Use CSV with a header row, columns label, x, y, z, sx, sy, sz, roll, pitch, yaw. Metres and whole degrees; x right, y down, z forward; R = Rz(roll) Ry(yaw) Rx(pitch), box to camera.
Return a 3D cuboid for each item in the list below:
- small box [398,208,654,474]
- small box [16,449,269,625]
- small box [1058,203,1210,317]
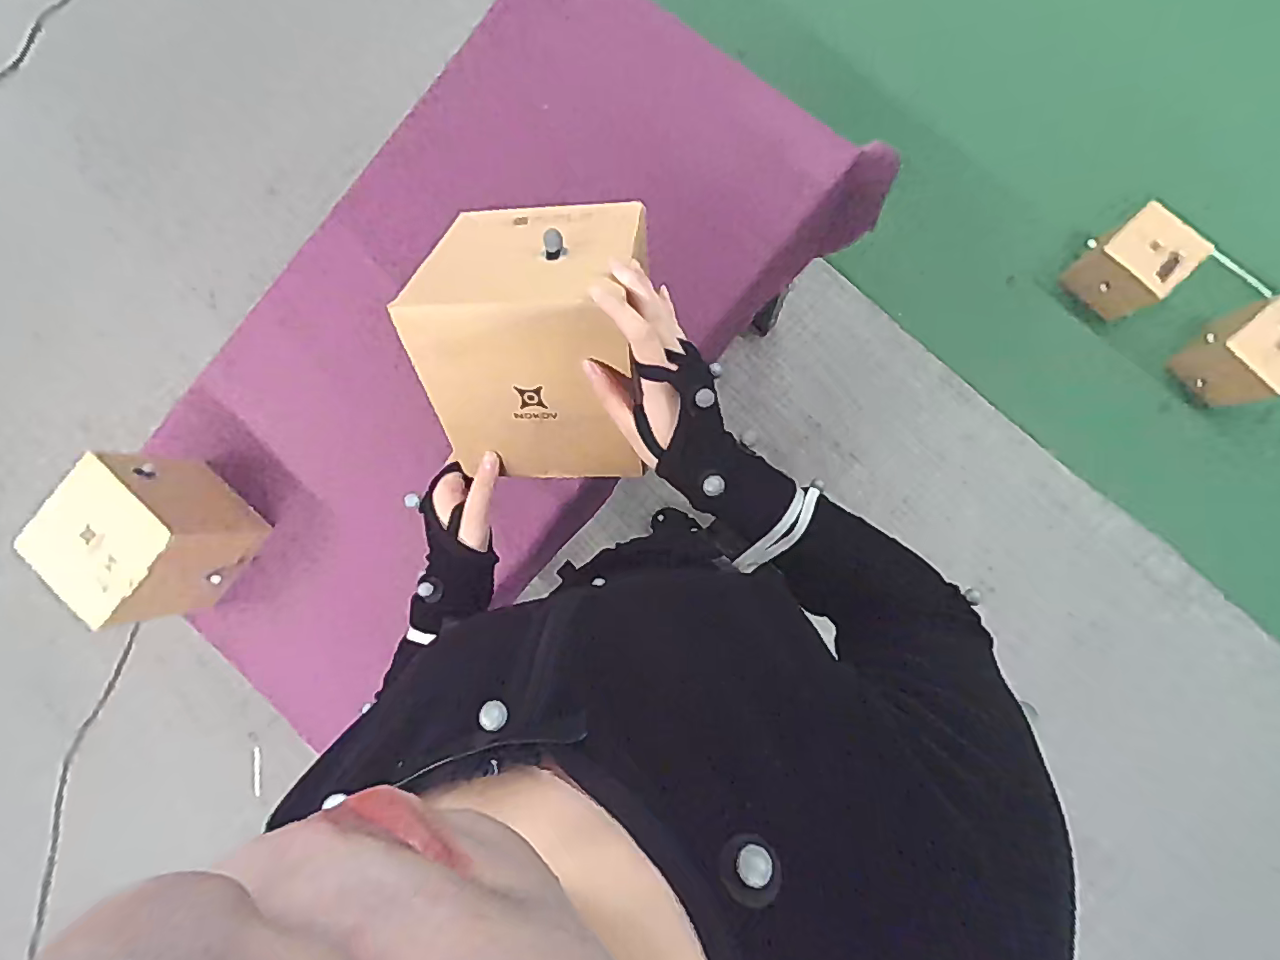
label,x,y,z,sx,sy,sz,roll,pitch,yaw
small box,-0.076,-0.124,0.478,0.168,0.179,0.176,1,48,7
small box,-0.703,0.079,0.784,0.179,0.176,0.168,41,92,7
small box,1.205,-0.529,1.334,0.168,0.176,0.179,-44,82,2
